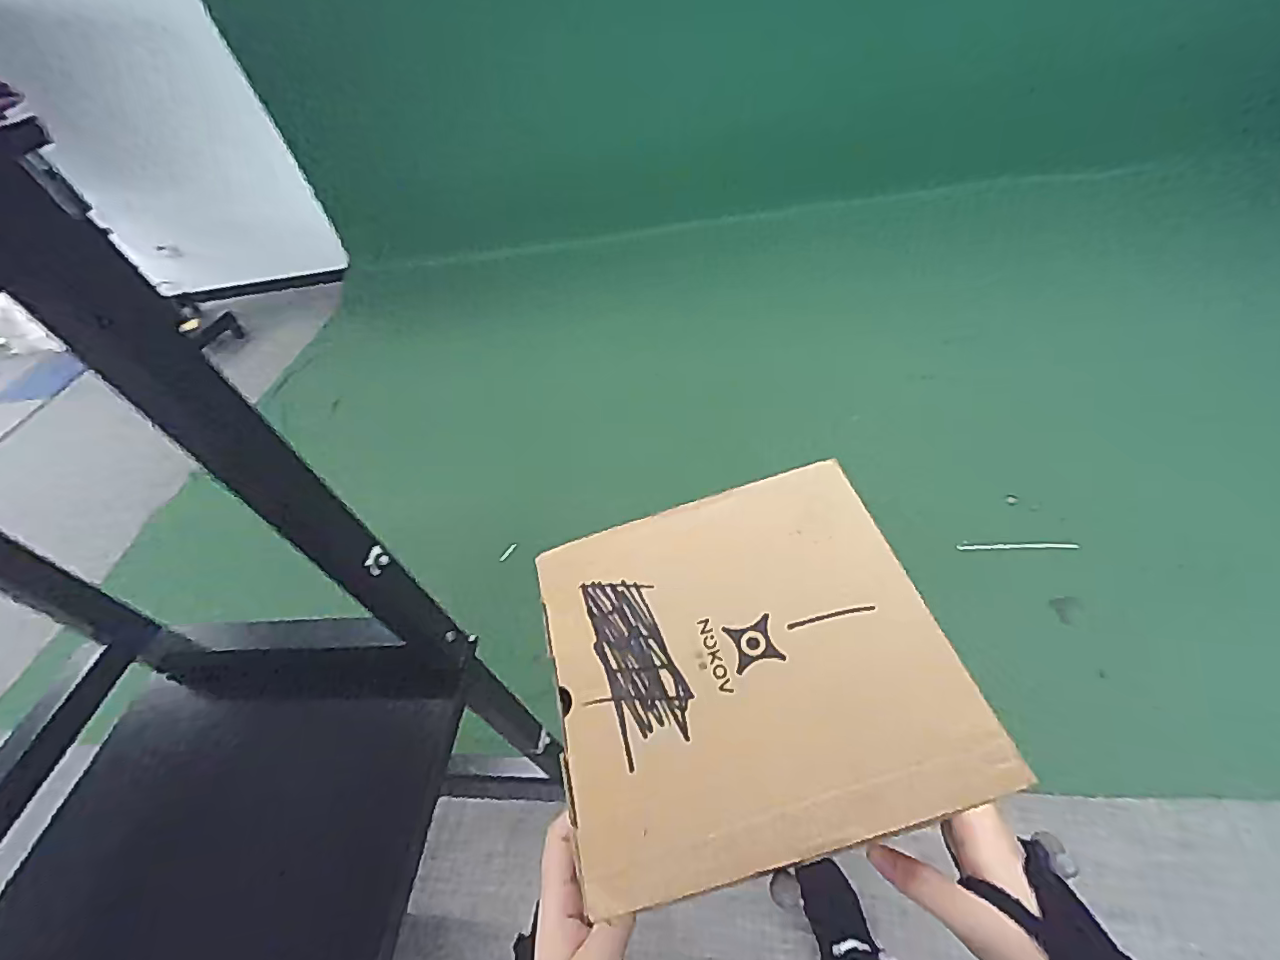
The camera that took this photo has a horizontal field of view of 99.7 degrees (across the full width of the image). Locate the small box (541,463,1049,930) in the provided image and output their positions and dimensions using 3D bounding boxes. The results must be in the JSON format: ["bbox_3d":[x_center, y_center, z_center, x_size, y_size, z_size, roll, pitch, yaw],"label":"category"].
[{"bbox_3d":[0.062,0.124,0.301,0.179,0.176,0.168,-17,52,1],"label":"small box"}]
